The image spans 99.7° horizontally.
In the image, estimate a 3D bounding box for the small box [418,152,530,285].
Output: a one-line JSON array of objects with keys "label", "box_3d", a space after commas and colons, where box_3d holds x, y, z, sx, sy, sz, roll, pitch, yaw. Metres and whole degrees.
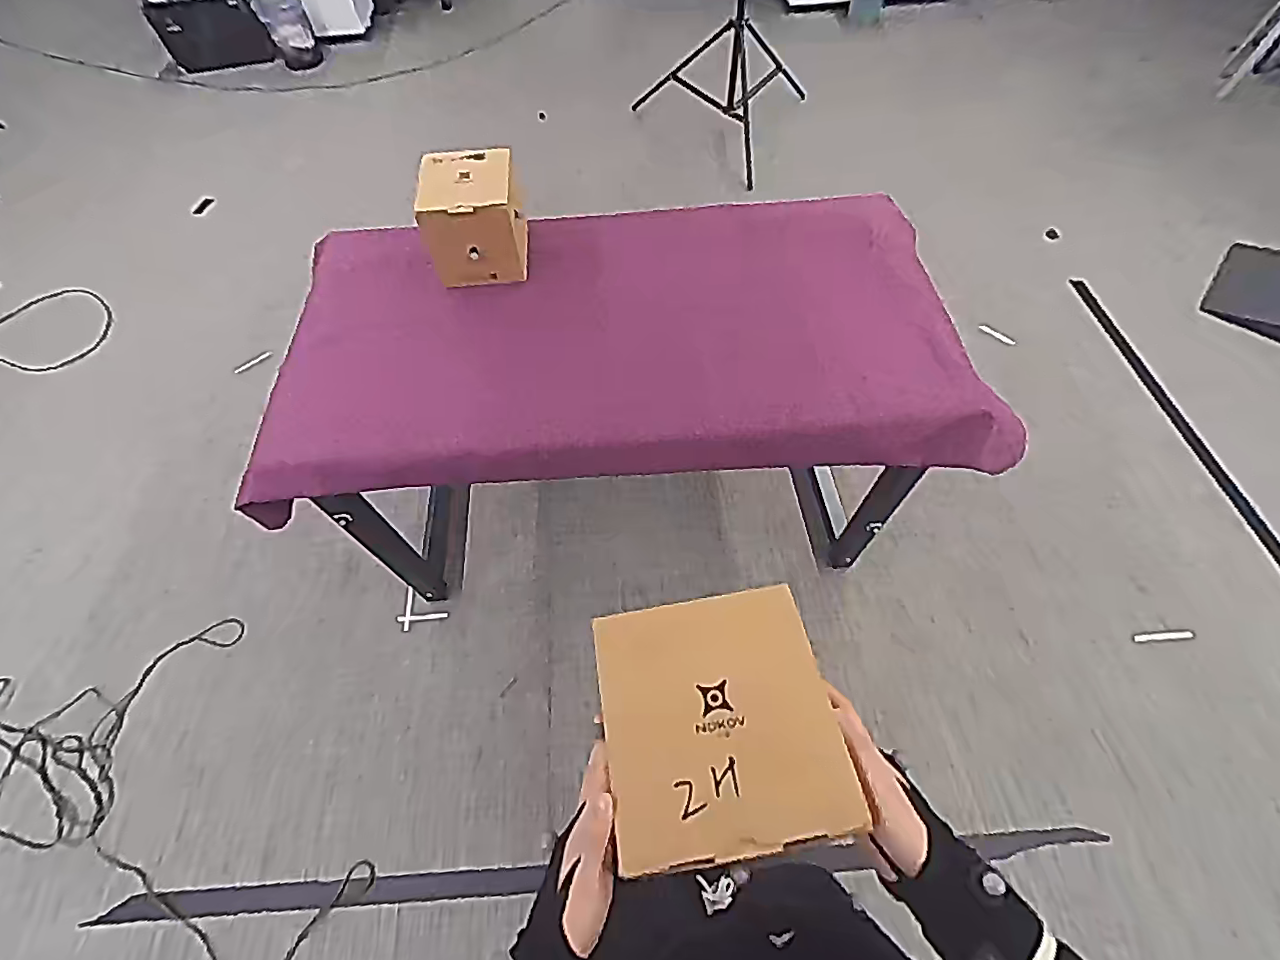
[{"label": "small box", "box_3d": [-0.311, -0.498, 1.050, 0.168, 0.176, 0.179, -5, 61, -2]}]

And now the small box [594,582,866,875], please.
[{"label": "small box", "box_3d": [0.059, 0.212, 0.457, 0.168, 0.176, 0.179, -10, 52, -1]}]
